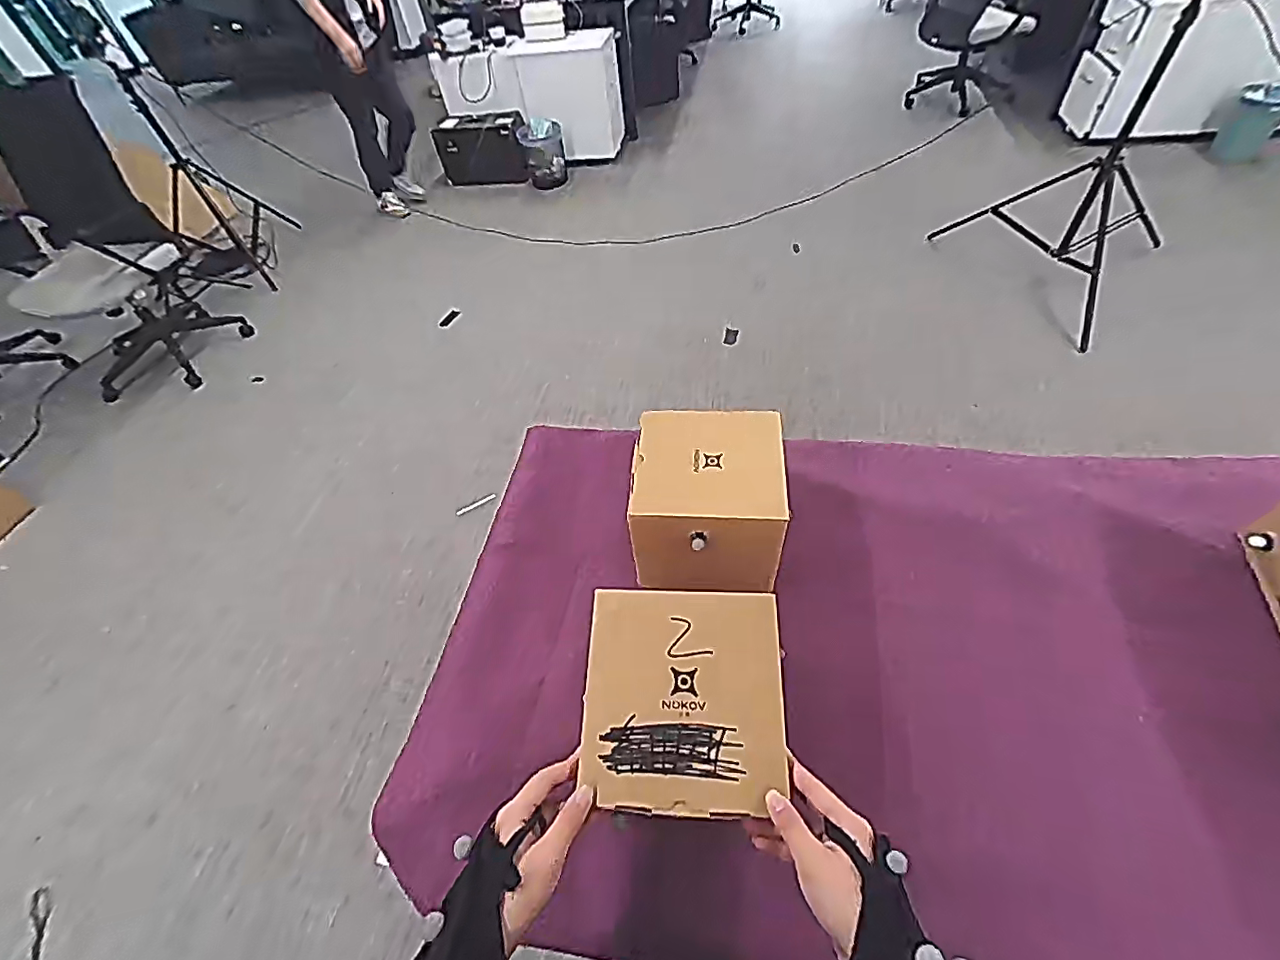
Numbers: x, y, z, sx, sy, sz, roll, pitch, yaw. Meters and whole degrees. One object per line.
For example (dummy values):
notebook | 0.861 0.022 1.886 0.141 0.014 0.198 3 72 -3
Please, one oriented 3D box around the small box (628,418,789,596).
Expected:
small box | 0.088 0.038 0.697 0.179 0.176 0.168 1 51 8
